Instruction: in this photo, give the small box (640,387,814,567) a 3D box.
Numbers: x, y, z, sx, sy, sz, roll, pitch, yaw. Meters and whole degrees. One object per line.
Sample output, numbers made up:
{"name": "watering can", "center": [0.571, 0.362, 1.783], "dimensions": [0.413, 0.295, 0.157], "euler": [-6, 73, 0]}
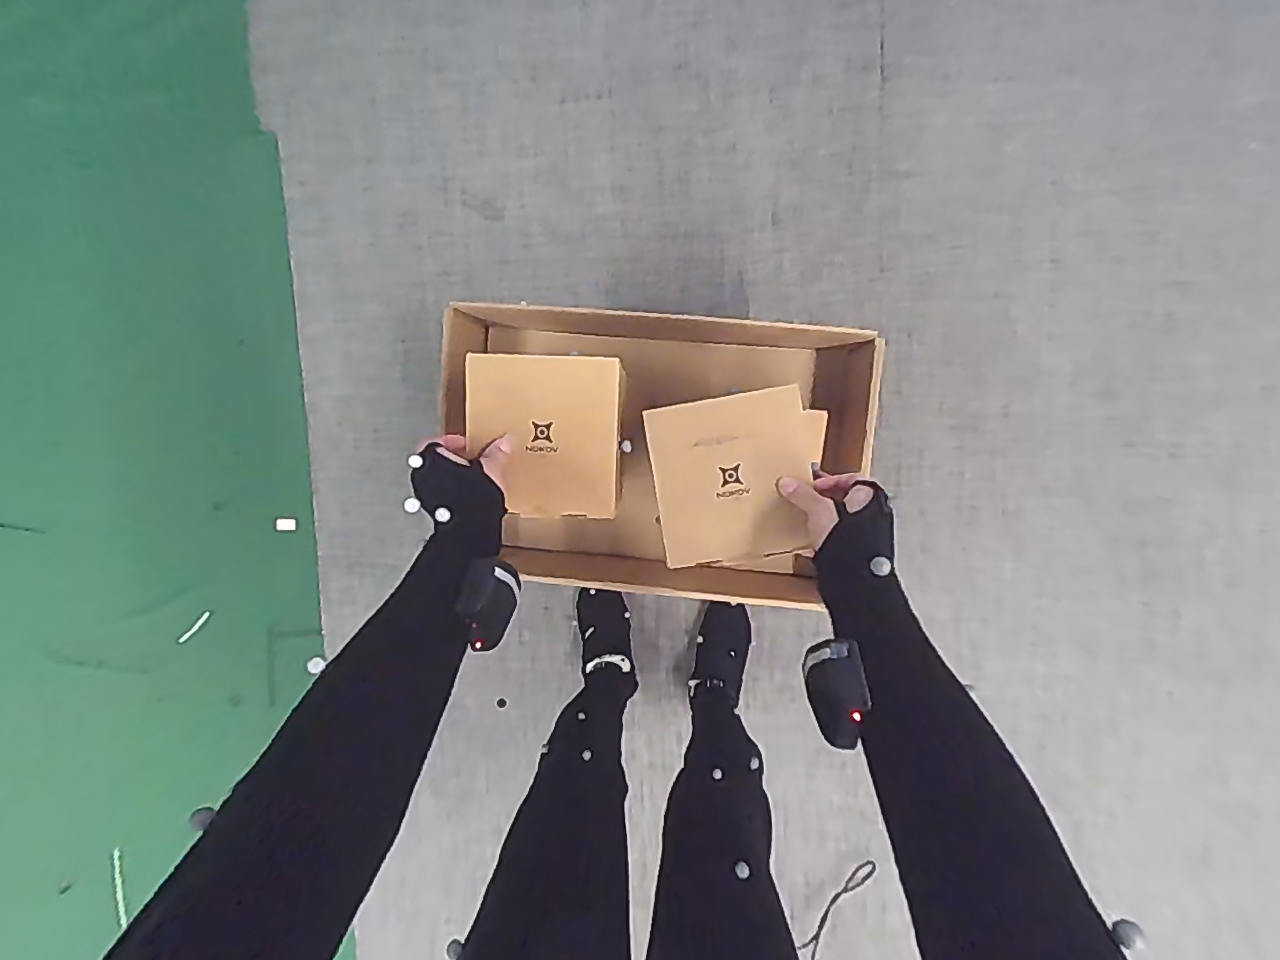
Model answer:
{"name": "small box", "center": [0.104, -0.007, 0.649], "dimensions": [0.168, 0.176, 0.179], "euler": [-9, 93, 10]}
